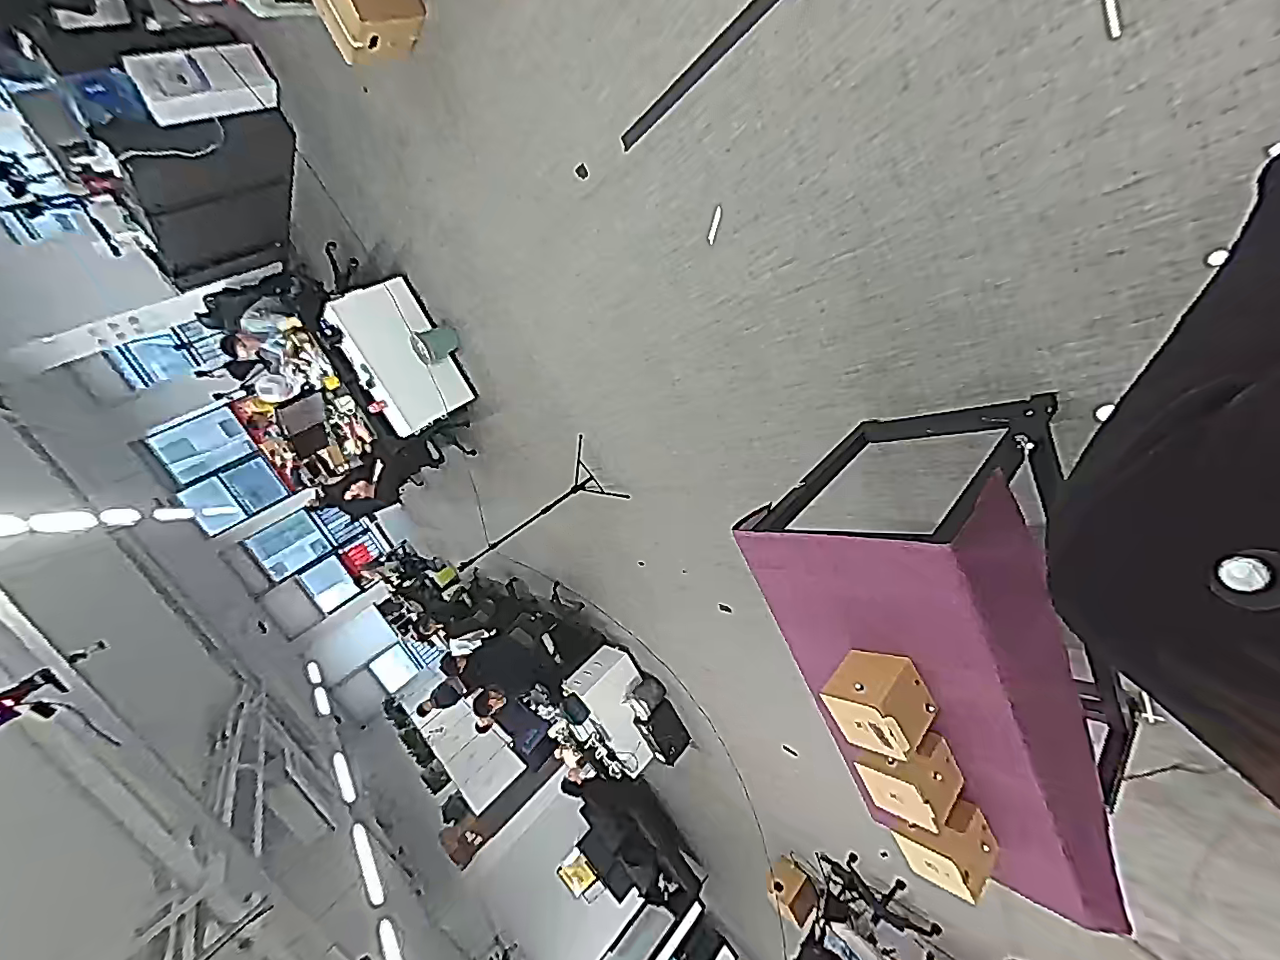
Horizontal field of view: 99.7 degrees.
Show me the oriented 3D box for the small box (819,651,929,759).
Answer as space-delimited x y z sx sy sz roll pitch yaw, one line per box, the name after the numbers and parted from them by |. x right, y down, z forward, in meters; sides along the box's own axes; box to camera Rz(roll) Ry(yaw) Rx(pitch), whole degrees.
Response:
0.593 0.553 1.355 0.168 0.176 0.179 58 150 -9 | small box

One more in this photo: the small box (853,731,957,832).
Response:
0.706 0.768 1.426 0.179 0.176 0.168 -8 115 57 | small box

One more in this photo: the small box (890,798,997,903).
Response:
0.828 0.981 1.475 0.179 0.176 0.168 -11 113 57 | small box
